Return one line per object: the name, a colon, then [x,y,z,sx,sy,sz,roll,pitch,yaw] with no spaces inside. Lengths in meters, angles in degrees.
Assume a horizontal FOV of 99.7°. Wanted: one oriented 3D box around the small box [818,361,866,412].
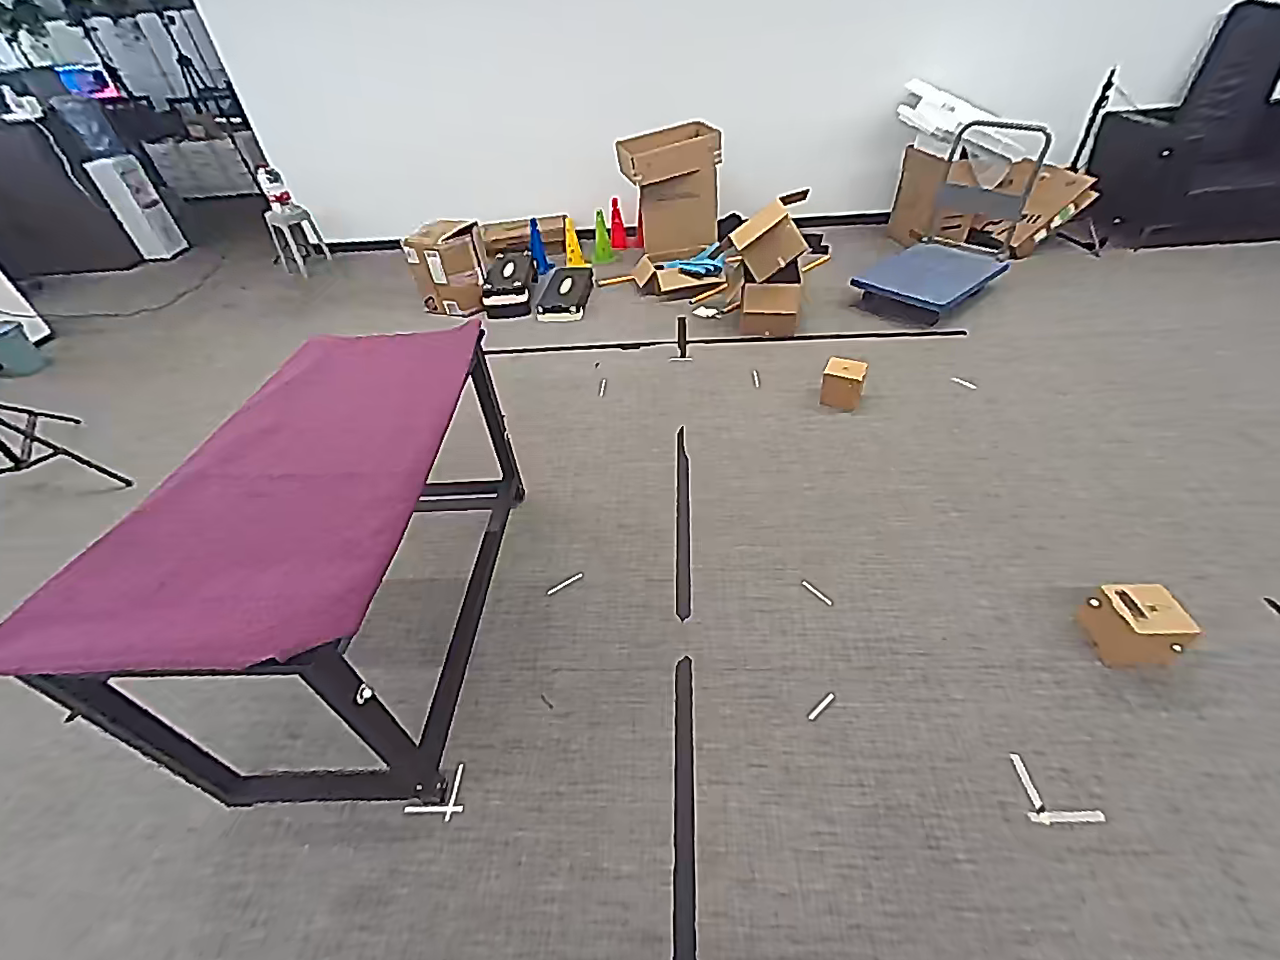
small box: [0.969,-0.448,2.600,0.179,0.176,0.168,16,45,22]
